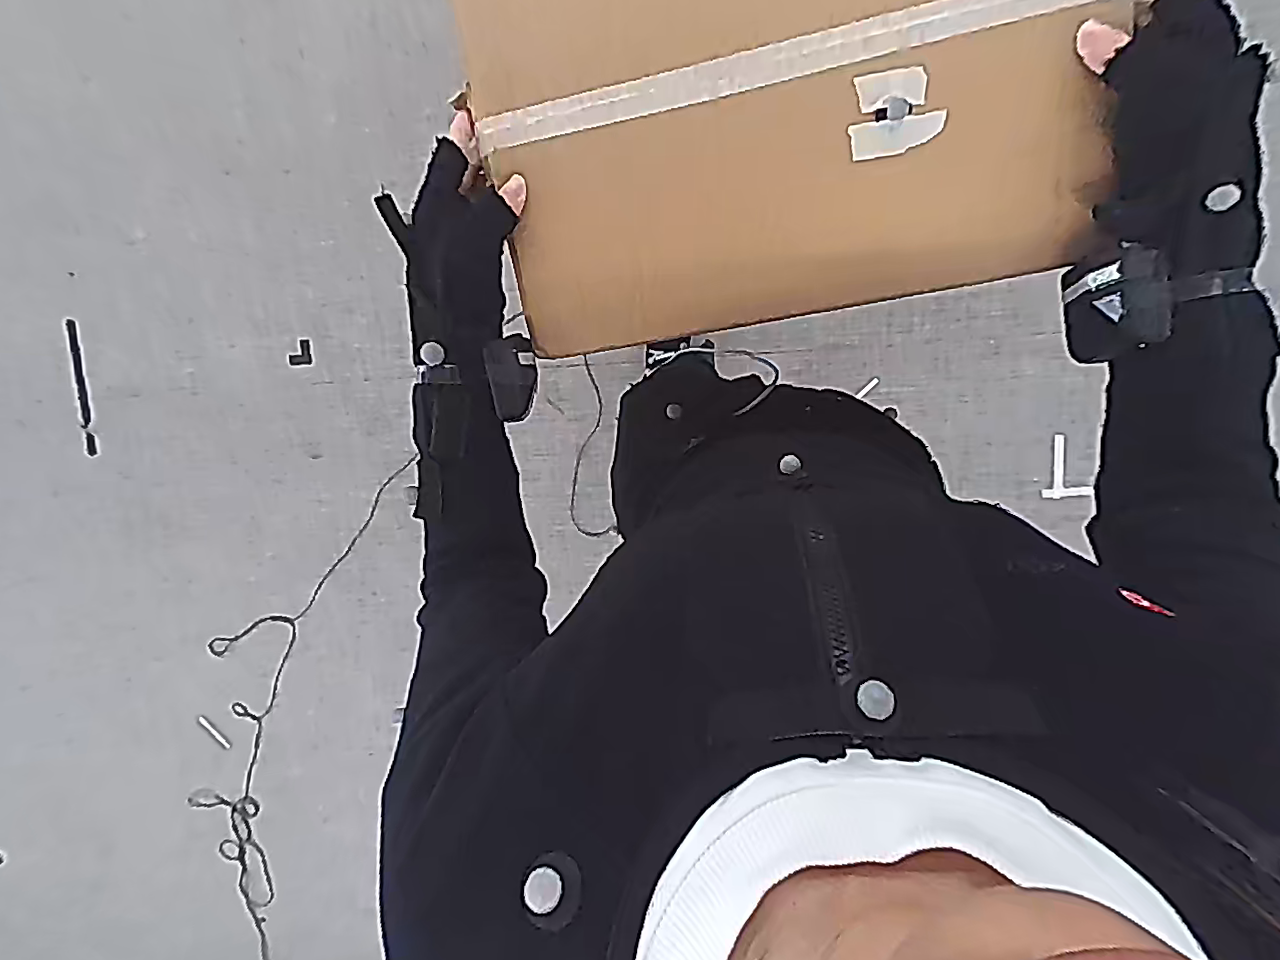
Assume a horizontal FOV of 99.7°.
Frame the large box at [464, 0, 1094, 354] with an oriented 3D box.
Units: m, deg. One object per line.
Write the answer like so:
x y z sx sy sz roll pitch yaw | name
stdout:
0.102 -0.316 0.508 0.408 0.320 0.320 -8 106 8 | large box
